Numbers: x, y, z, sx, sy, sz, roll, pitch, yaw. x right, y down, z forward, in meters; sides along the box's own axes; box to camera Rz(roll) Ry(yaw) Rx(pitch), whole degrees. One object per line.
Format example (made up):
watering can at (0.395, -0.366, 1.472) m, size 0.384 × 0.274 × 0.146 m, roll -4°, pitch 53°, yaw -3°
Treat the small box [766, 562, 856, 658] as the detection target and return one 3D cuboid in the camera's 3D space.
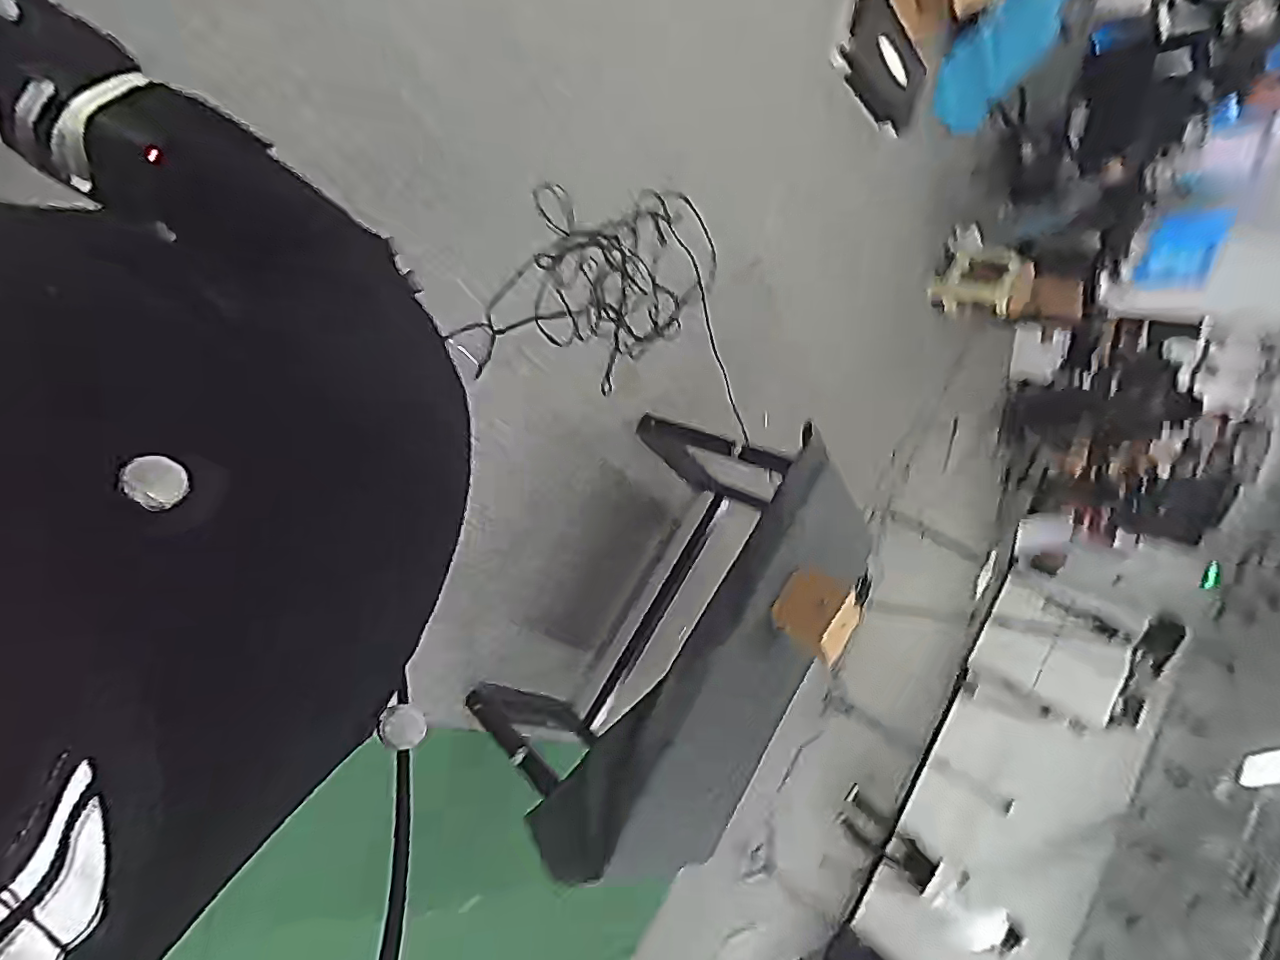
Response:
small box at (0.485, 0.363, 1.533) m, size 0.179 × 0.176 × 0.168 m, roll -49°, pitch 135°, yaw -18°
